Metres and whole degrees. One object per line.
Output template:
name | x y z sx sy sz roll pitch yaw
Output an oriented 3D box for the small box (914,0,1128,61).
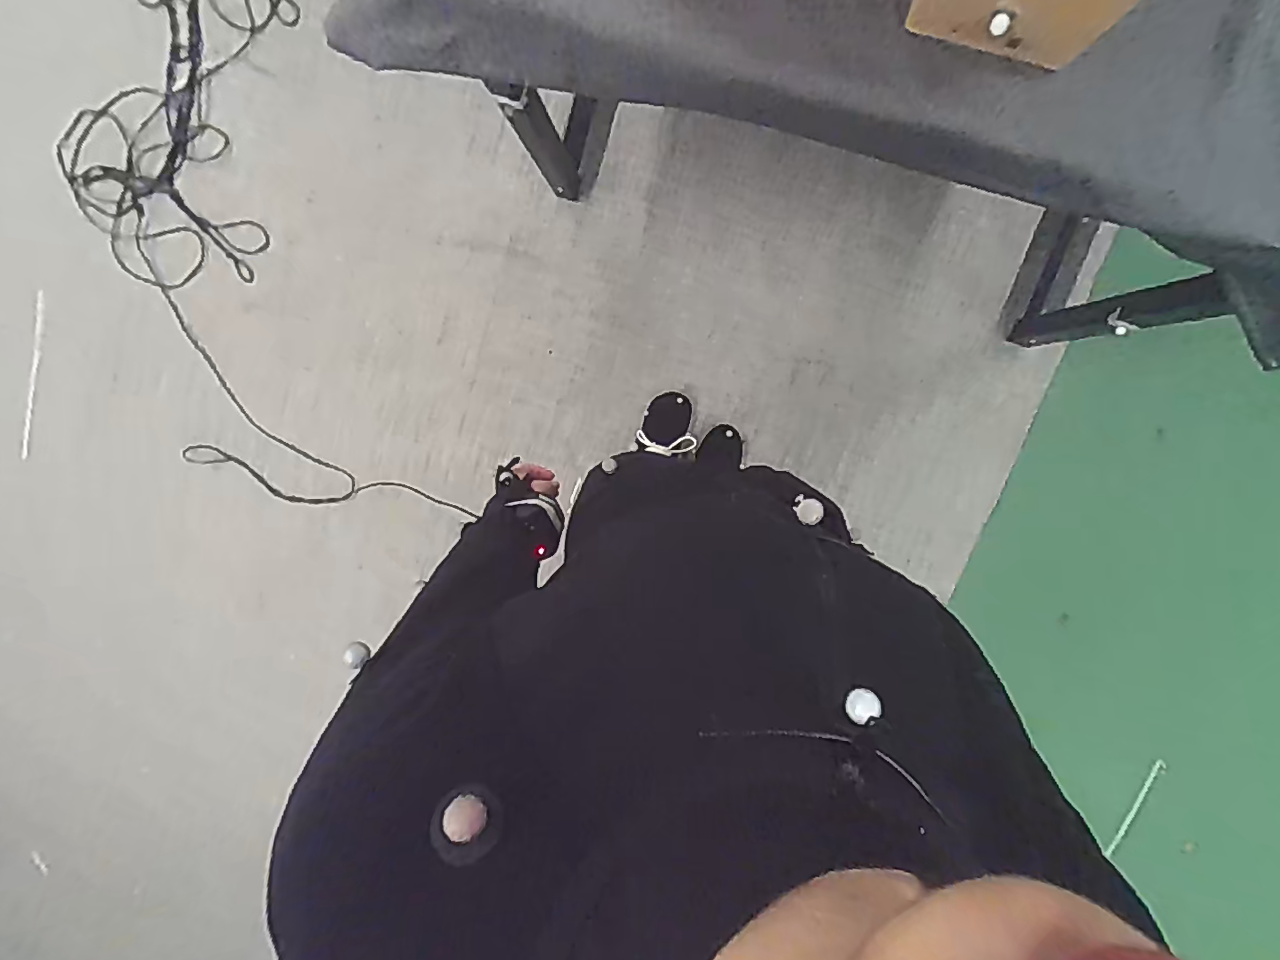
small box | 0.361 -0.509 0.449 0.168 0.176 0.179 17 99 2
